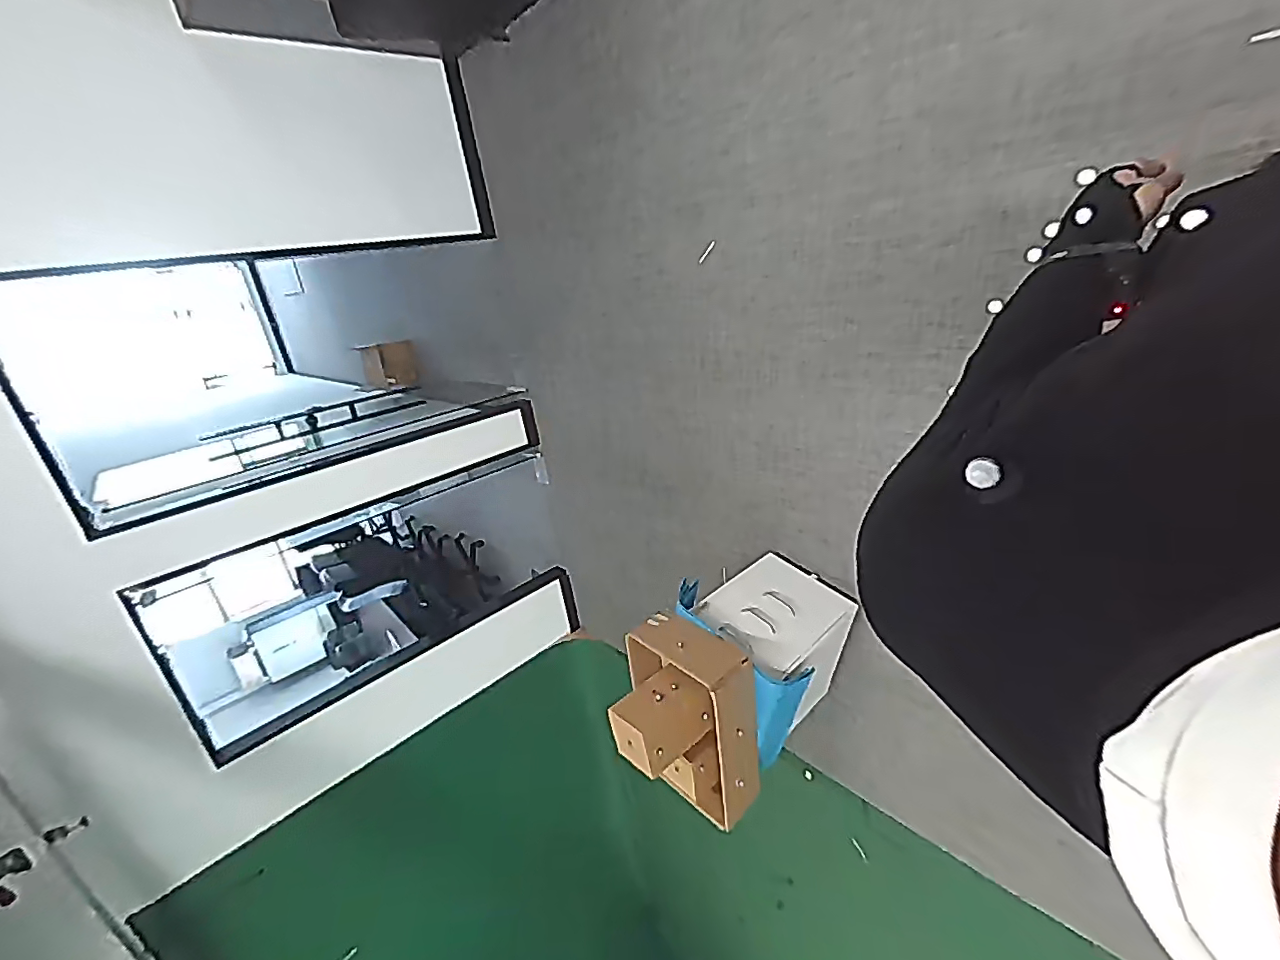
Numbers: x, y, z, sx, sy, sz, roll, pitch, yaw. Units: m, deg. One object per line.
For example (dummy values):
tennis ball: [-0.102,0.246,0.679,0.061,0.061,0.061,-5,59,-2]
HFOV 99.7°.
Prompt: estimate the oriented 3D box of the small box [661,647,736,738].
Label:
small box: [0.196,0.682,1.754,0.168,0.176,0.179,15,123,50]

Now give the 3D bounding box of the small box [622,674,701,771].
small box: [0.071,0.739,1.665,0.168,0.176,0.179,13,120,50]
